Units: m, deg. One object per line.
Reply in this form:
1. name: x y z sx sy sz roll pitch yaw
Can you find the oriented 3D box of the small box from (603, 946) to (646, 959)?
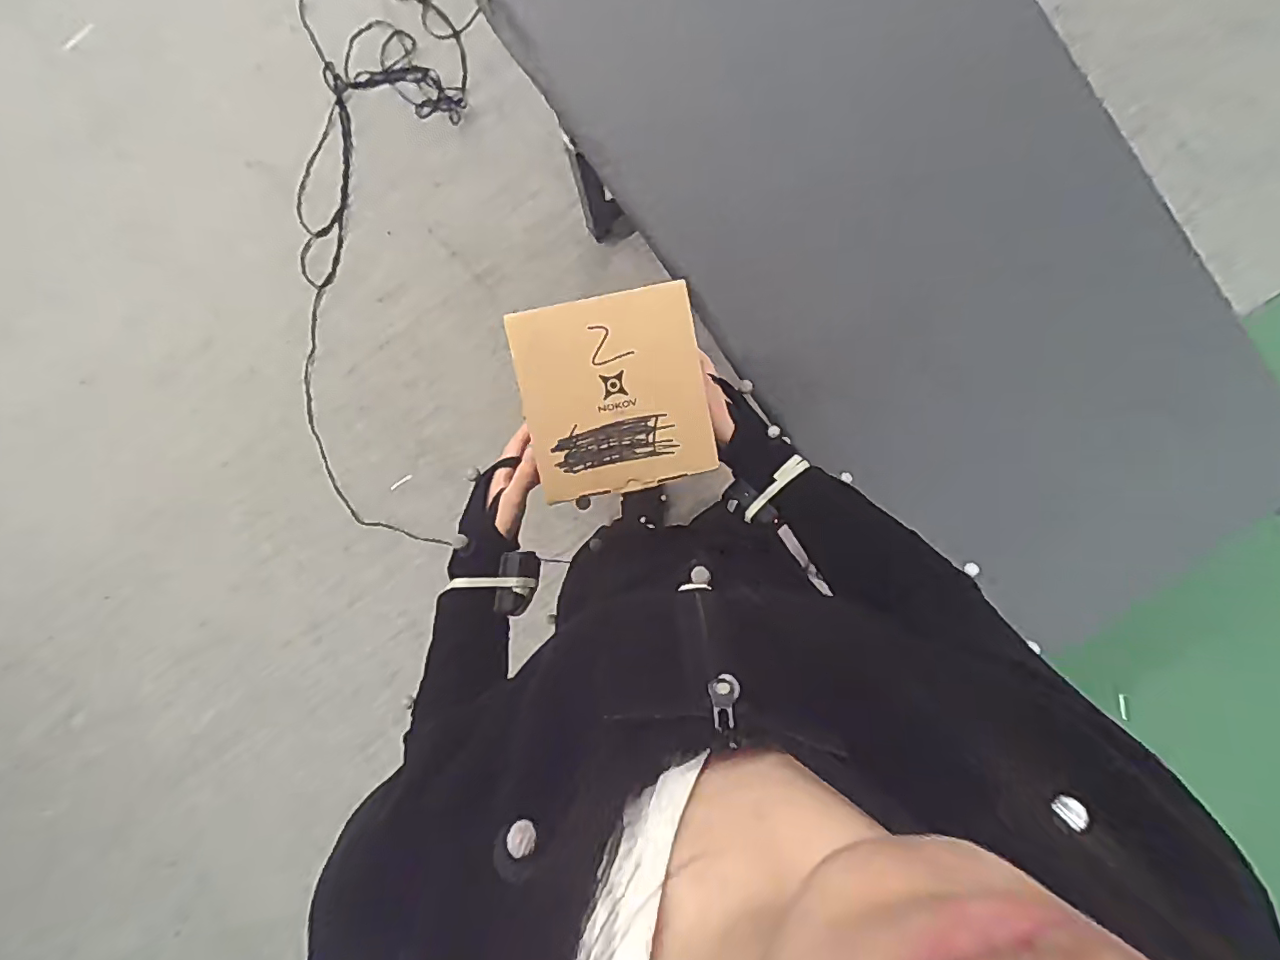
1. small box: -0.044 1.431 1.472 0.168 0.176 0.179 -35 92 1
